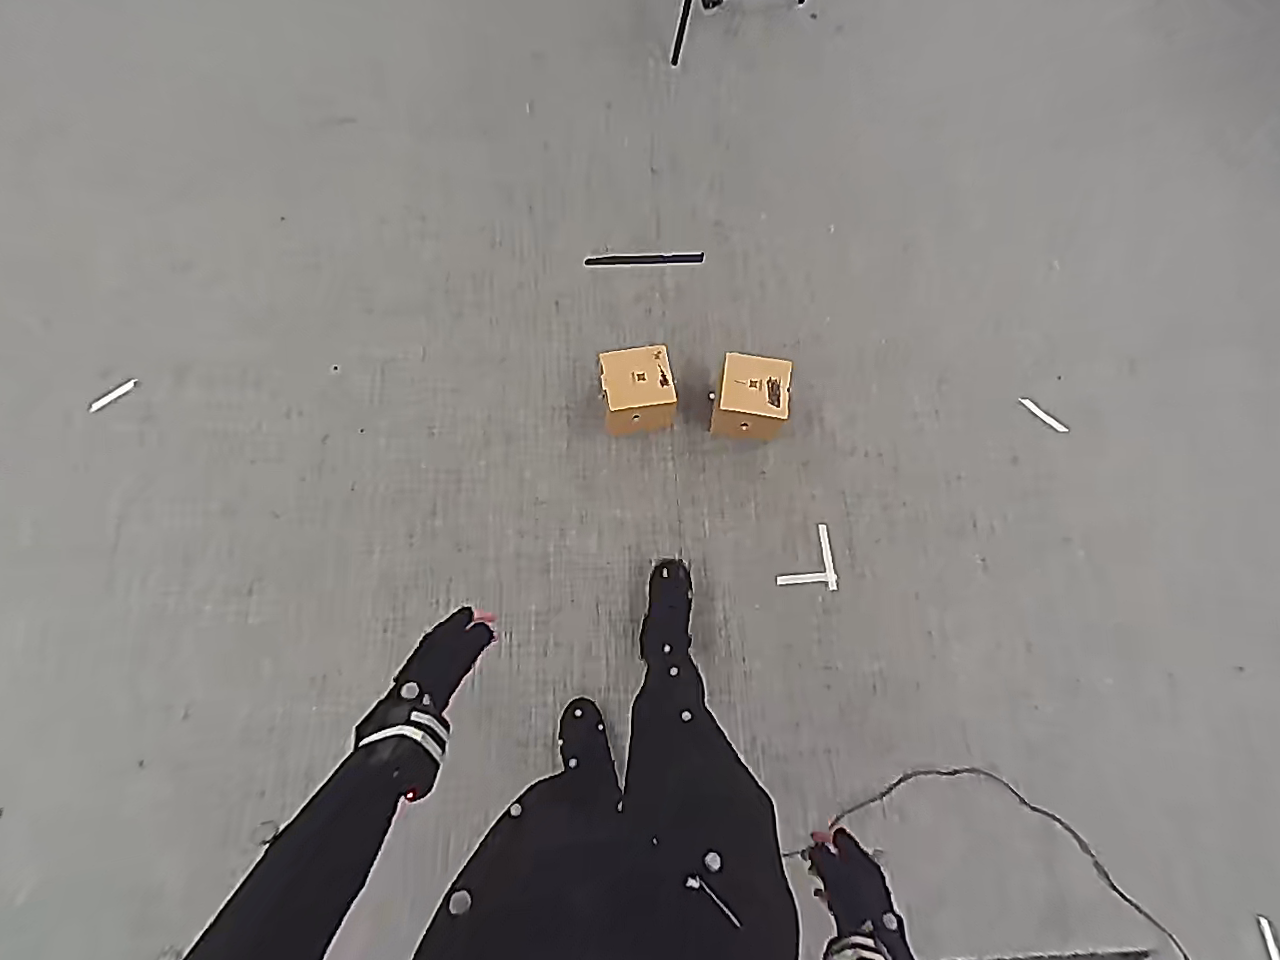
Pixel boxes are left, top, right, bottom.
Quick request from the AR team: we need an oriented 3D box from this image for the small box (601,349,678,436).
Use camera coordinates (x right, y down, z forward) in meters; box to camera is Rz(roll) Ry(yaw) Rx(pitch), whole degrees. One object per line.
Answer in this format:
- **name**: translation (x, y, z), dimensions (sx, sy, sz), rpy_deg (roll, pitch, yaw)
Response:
- **small box**: translation (-0.003, -0.228, 1.449), dimensions (0.179, 0.176, 0.168), rpy_deg (-9, 75, -4)

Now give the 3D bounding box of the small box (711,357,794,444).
- **small box**: translation (0.298, -0.206, 1.453), dimensions (0.179, 0.176, 0.168), rpy_deg (8, 73, -1)
